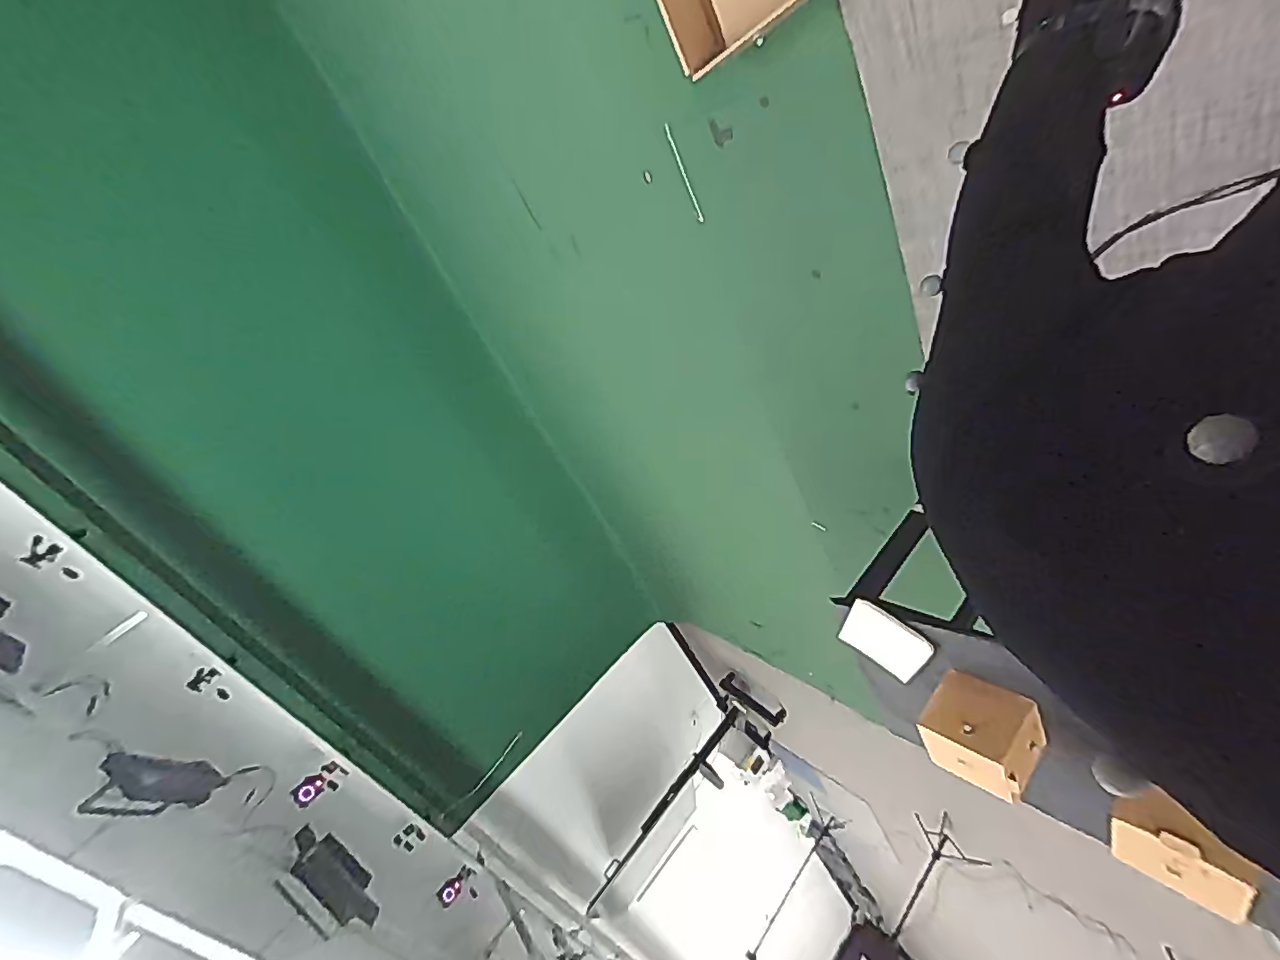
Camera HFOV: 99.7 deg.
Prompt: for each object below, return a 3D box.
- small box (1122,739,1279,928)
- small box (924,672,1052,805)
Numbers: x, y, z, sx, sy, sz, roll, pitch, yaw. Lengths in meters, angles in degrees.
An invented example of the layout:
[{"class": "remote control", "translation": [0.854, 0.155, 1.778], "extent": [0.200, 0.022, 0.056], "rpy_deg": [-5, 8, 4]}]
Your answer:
[{"class": "small box", "translation": [0.946, 0.584, 0.911], "extent": [0.168, 0.176, 0.179], "rpy_deg": [15, 141, 51]}, {"class": "small box", "translation": [0.763, 0.553, 1.185], "extent": [0.179, 0.176, 0.168], "rpy_deg": [10, 138, 54]}]
